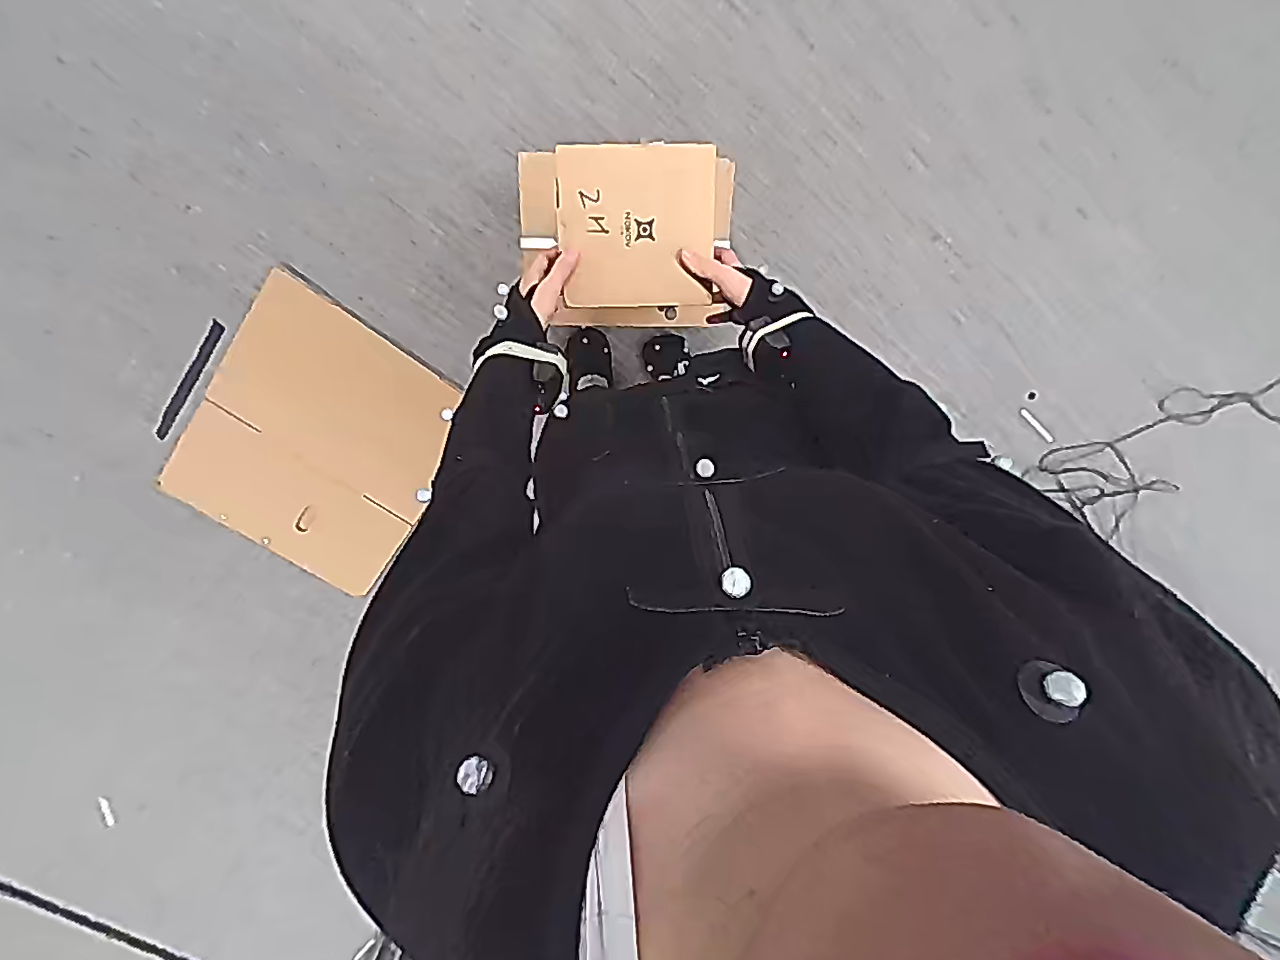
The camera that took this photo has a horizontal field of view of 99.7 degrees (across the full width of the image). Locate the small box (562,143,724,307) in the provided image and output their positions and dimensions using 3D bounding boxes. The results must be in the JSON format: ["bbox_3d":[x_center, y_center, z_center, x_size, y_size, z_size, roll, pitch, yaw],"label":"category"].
[{"bbox_3d":[-0.001,-0.304,0.672,0.179,0.176,0.168,-2,109,-3],"label":"small box"}]
